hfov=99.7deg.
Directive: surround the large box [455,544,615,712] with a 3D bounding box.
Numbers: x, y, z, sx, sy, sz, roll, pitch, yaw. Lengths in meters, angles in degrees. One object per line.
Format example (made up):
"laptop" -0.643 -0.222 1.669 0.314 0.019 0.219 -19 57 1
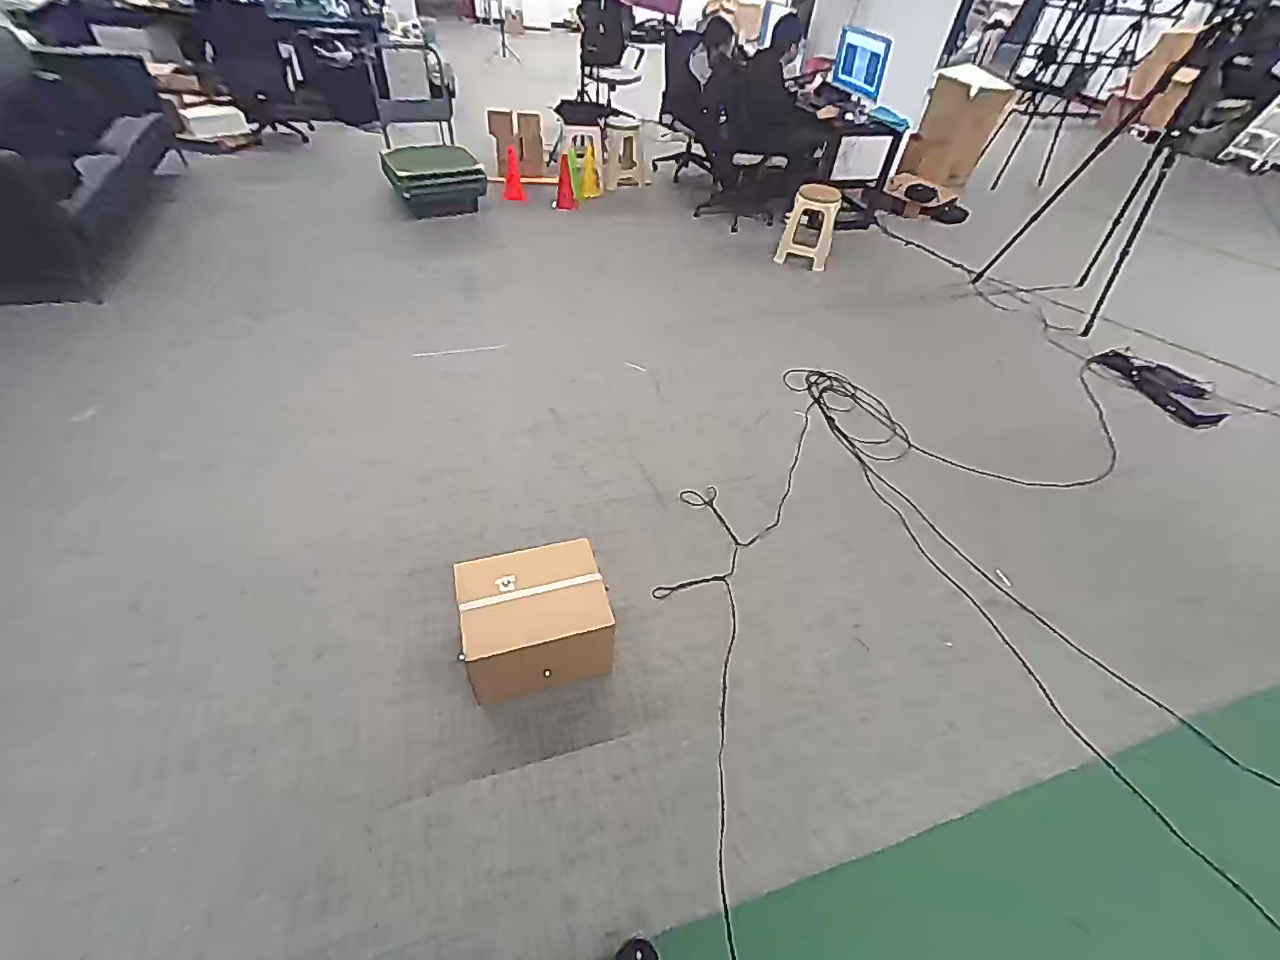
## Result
"large box" -0.311 0.445 1.640 0.408 0.320 0.320 -12 47 -15
